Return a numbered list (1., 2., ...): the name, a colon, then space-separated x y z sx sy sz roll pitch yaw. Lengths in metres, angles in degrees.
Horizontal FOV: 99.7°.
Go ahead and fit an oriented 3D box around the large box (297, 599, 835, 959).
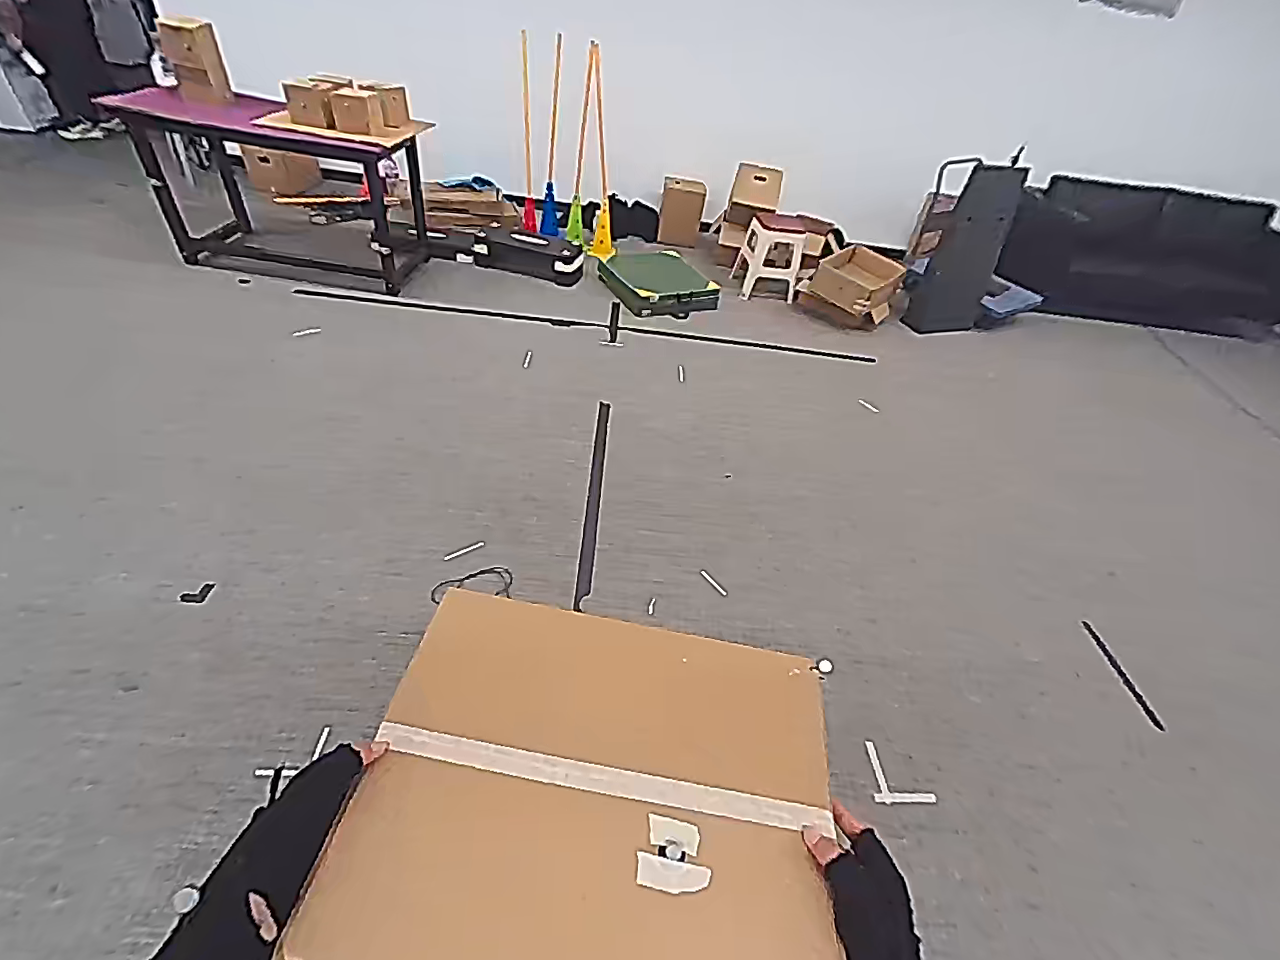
1. large box: -0.050 0.373 0.589 0.408 0.320 0.320 11 46 1
